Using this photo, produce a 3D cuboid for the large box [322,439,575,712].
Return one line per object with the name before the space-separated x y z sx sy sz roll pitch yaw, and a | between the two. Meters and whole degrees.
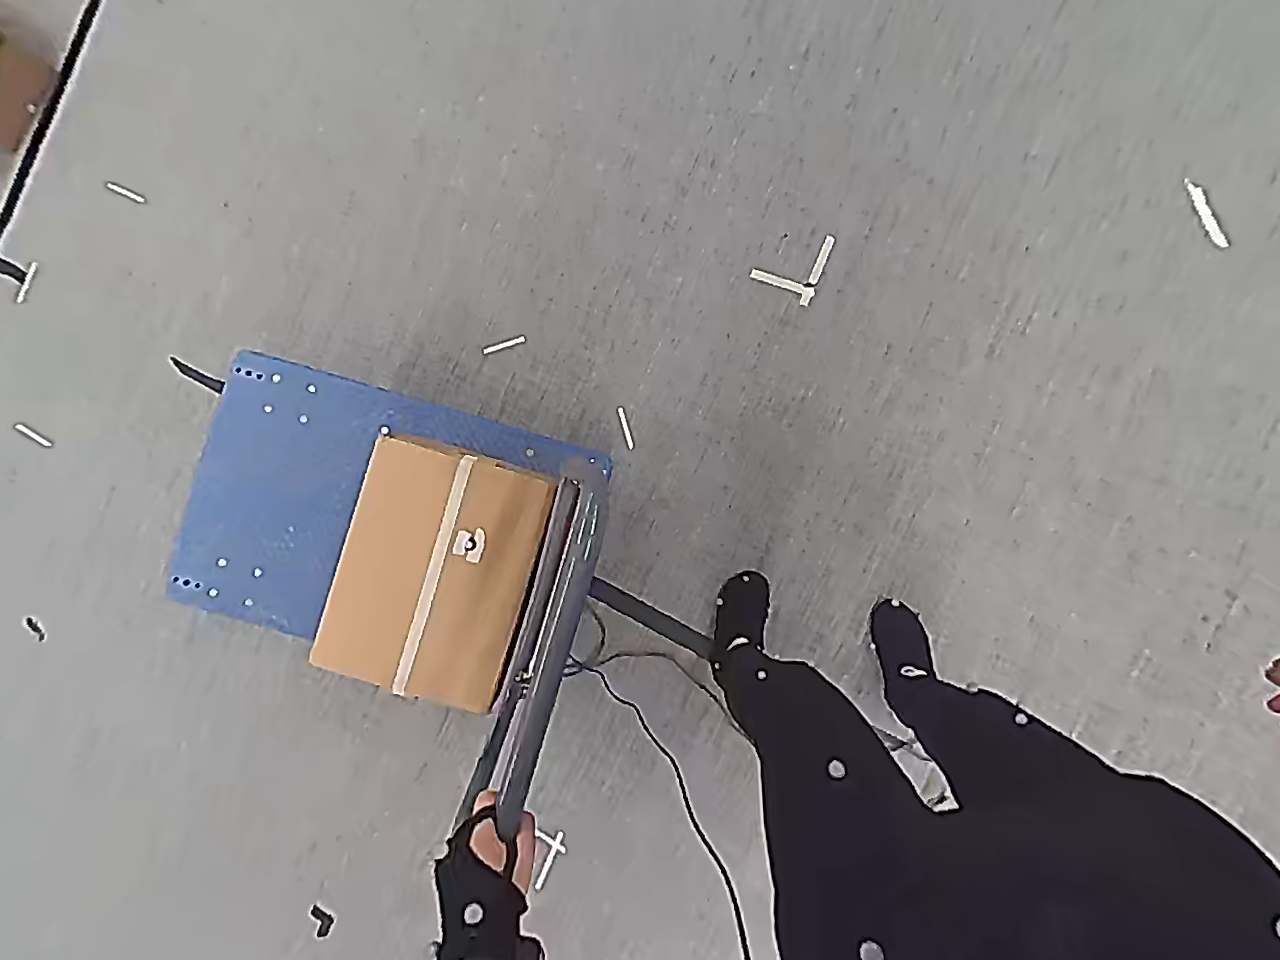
large box | -0.339 0.165 1.059 0.320 0.320 0.408 17 89 -2
